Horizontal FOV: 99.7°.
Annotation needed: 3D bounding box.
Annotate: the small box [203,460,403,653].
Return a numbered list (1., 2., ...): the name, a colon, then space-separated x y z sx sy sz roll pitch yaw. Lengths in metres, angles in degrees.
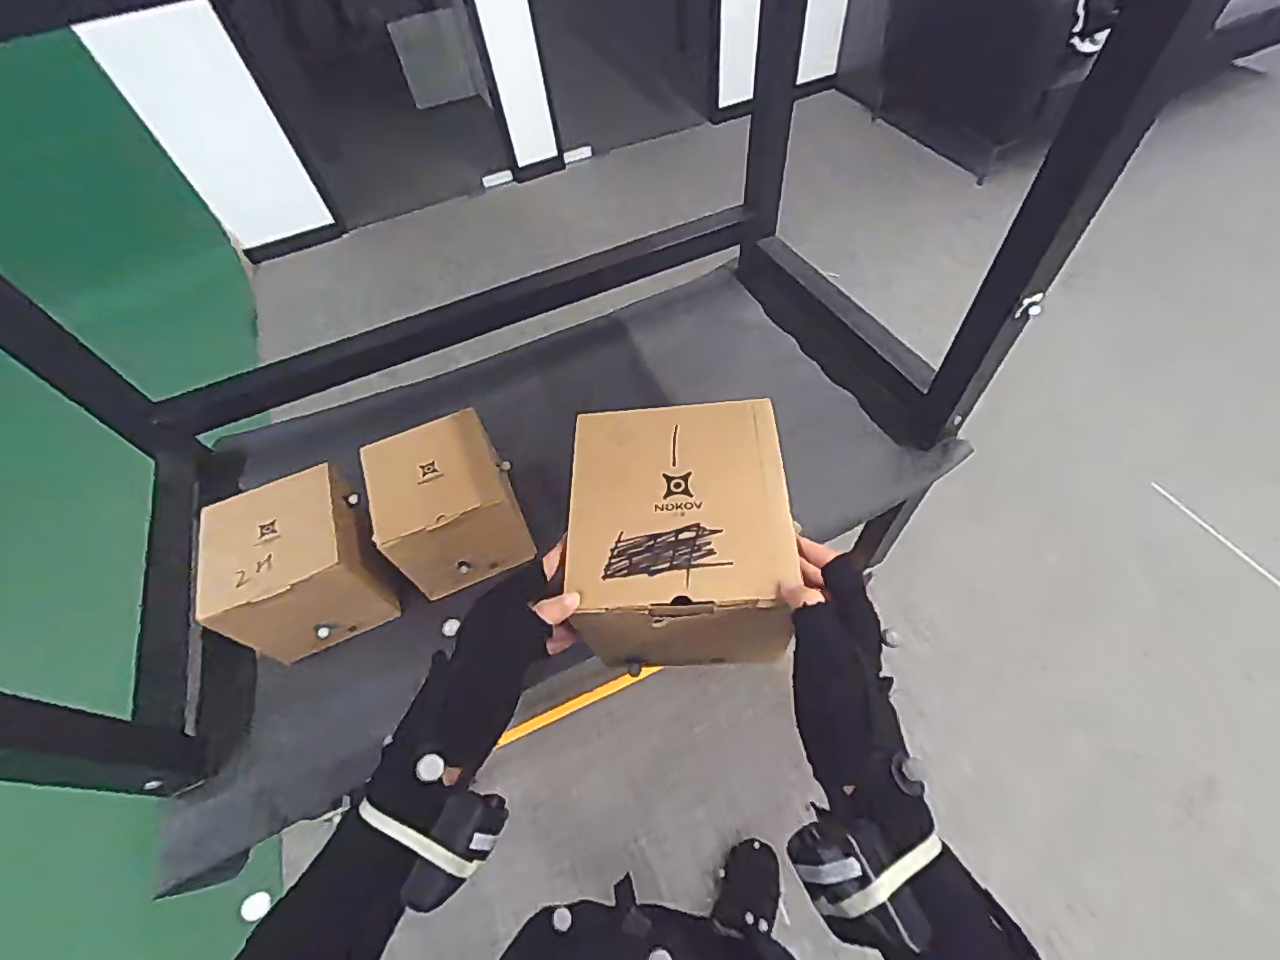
1. small box: -0.458 0.110 0.751 0.168 0.176 0.179 -26 60 -12
